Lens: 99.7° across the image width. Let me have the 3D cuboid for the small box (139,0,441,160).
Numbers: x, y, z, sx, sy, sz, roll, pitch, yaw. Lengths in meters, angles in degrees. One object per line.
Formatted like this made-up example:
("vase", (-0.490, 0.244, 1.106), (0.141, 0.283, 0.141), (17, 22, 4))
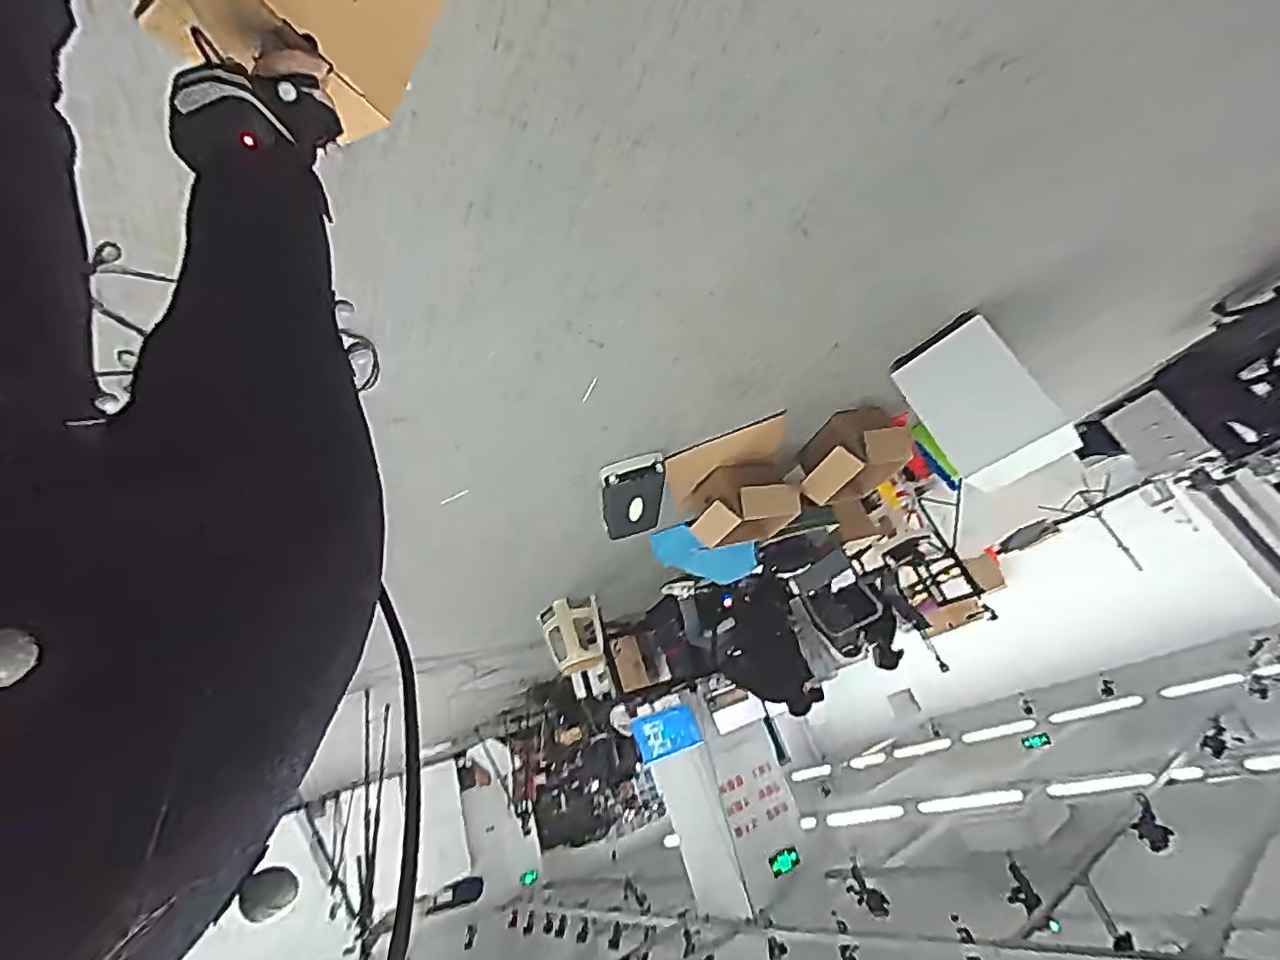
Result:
("small box", (-0.335, -0.456, 0.528), (0.176, 0.179, 0.168), (7, 167, 32))
